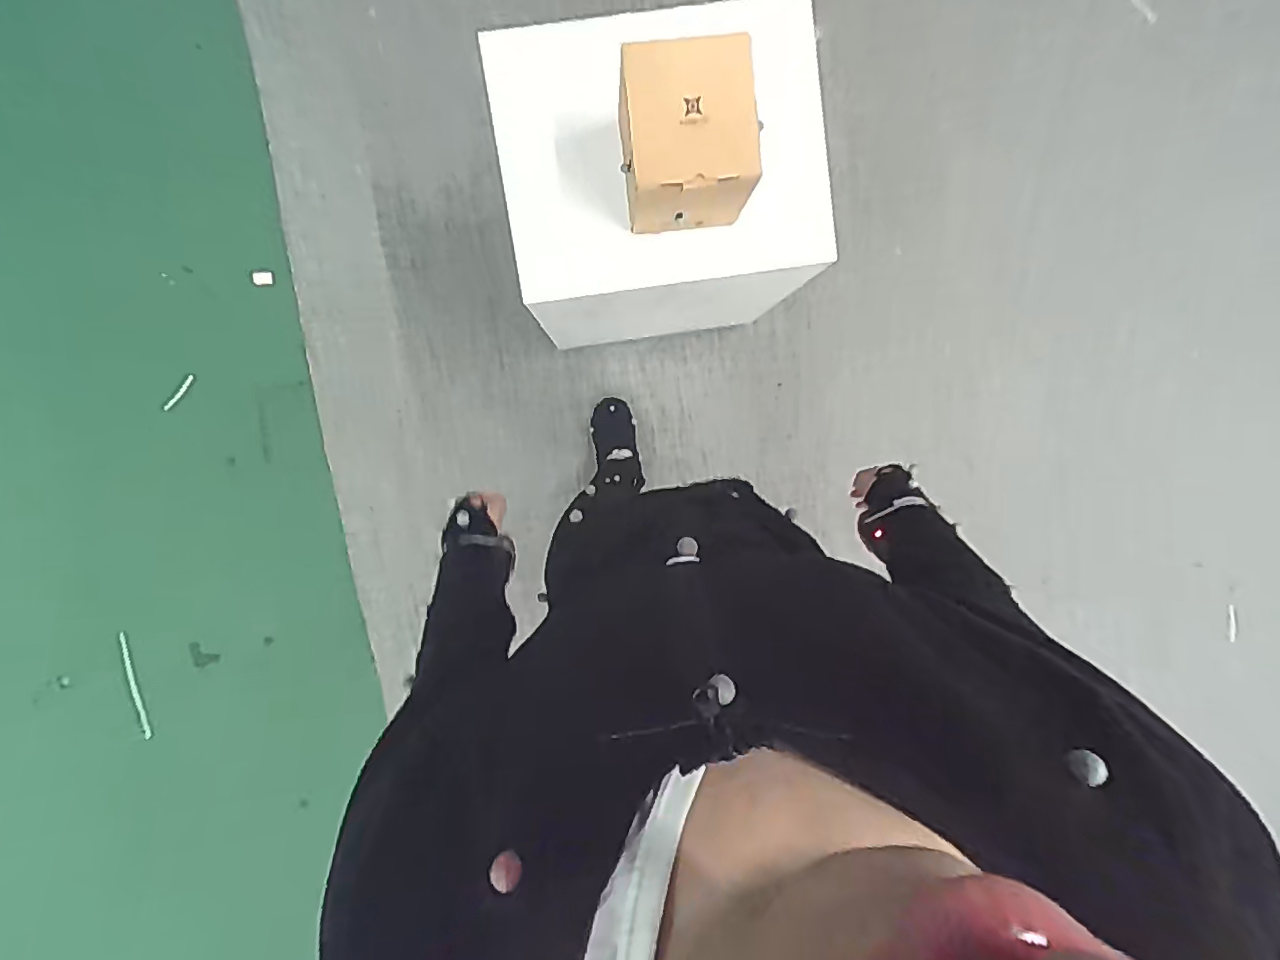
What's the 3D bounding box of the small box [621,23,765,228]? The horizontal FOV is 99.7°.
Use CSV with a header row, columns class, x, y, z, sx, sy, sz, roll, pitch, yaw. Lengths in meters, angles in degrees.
class,x,y,z,sx,sy,sz,roll,pitch,yaw
small box,0.064,-0.475,0.749,0.168,0.176,0.179,-7,96,-2
